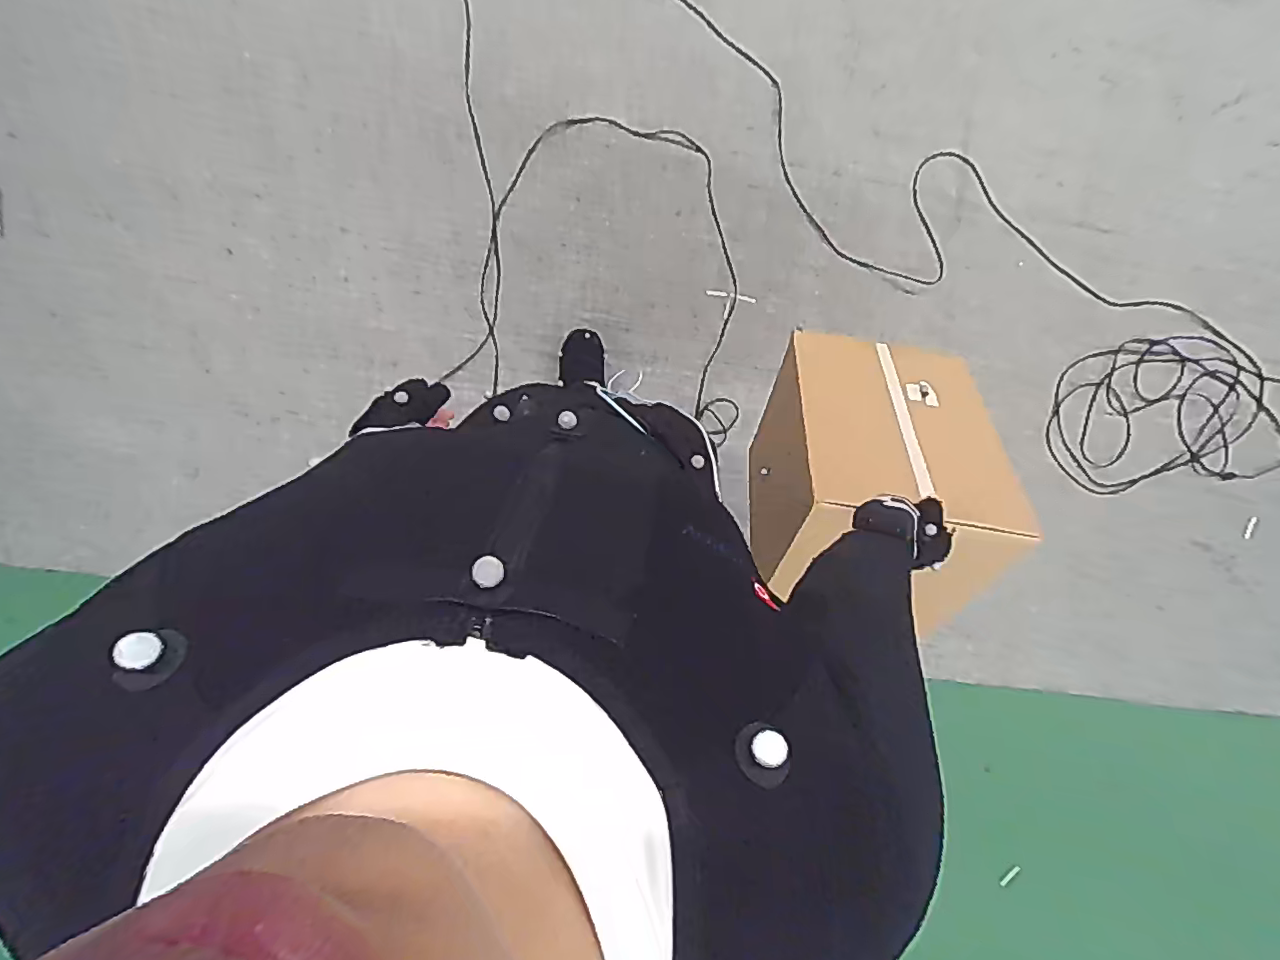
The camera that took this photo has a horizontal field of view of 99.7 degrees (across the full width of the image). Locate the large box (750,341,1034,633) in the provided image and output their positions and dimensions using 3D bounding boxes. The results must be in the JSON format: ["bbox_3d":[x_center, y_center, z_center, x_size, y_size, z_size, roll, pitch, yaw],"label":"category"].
[{"bbox_3d":[0.389,0.011,0.969,0.320,0.408,0.320,10,138,-1],"label":"large box"}]
